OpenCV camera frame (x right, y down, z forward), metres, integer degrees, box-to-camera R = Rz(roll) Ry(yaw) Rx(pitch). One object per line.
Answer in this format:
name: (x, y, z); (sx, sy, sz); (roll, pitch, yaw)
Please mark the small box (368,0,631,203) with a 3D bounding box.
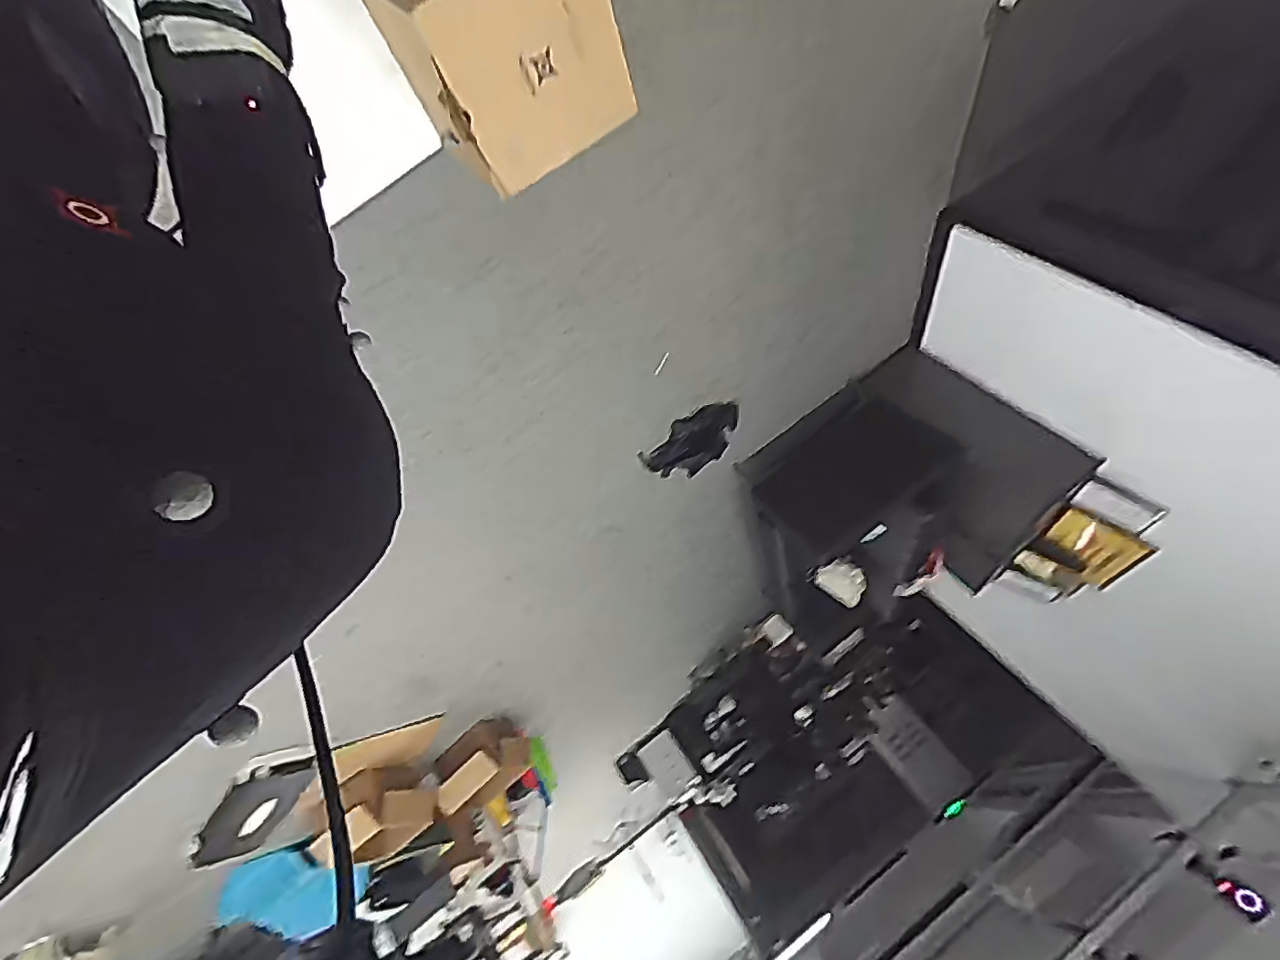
small box: (-0.142, -0.425, 0.542); (0.179, 0.176, 0.168); (-38, 148, -6)
